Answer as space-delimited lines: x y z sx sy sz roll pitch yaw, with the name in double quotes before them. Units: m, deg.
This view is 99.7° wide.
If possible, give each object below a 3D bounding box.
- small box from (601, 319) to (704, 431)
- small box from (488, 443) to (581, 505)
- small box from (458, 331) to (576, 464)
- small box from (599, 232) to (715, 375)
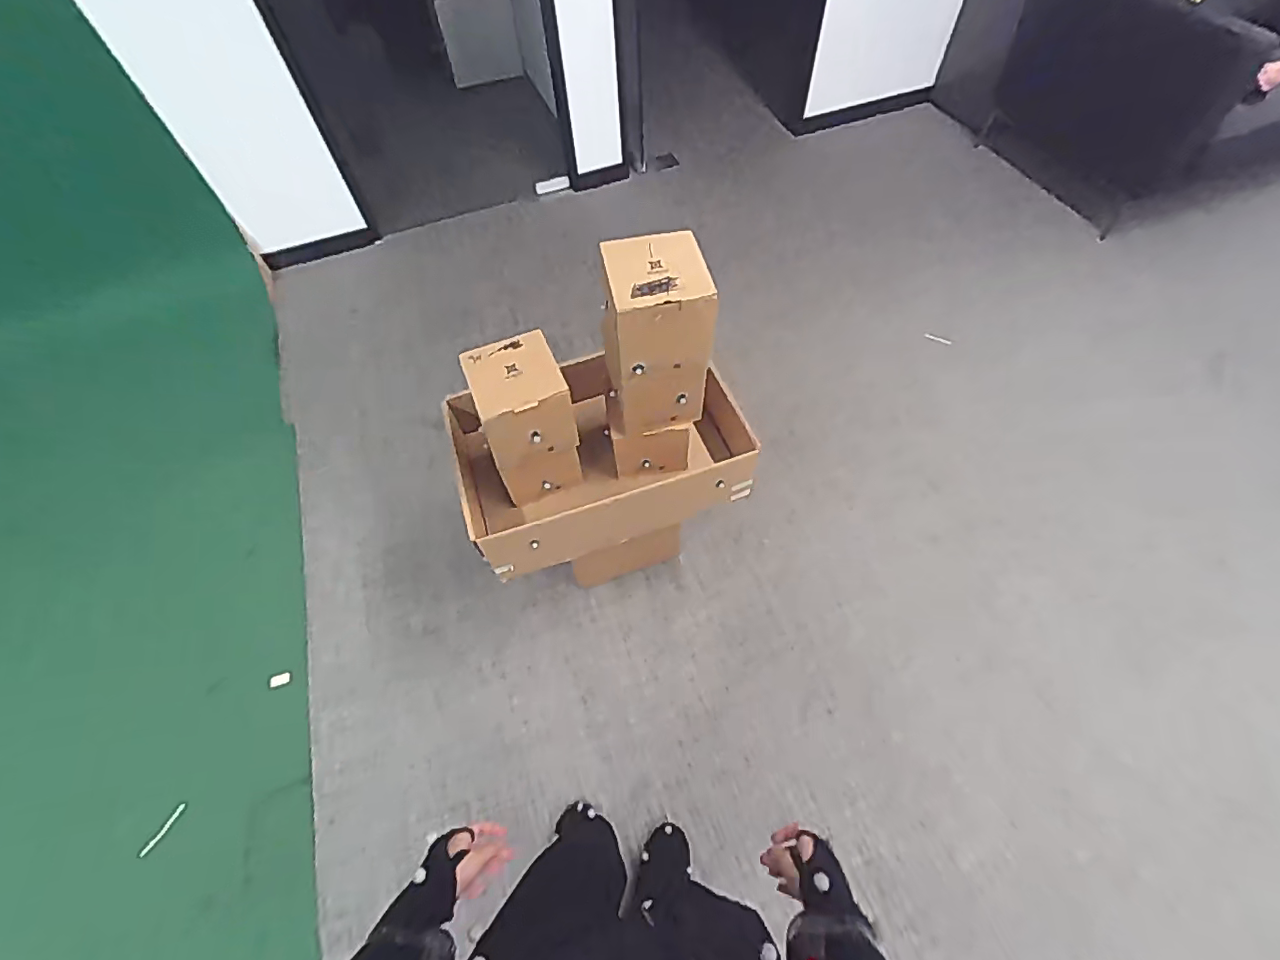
"small box" 0.024 -0.217 1.091 0.168 0.176 0.179 -12 59 -7
"small box" -0.242 -0.075 1.200 0.168 0.176 0.179 -21 60 -10
"small box" -0.232 -0.152 1.055 0.168 0.176 0.179 -20 60 -11
"small box" 0.026 -0.301 0.950 0.168 0.176 0.179 -10 58 -5
